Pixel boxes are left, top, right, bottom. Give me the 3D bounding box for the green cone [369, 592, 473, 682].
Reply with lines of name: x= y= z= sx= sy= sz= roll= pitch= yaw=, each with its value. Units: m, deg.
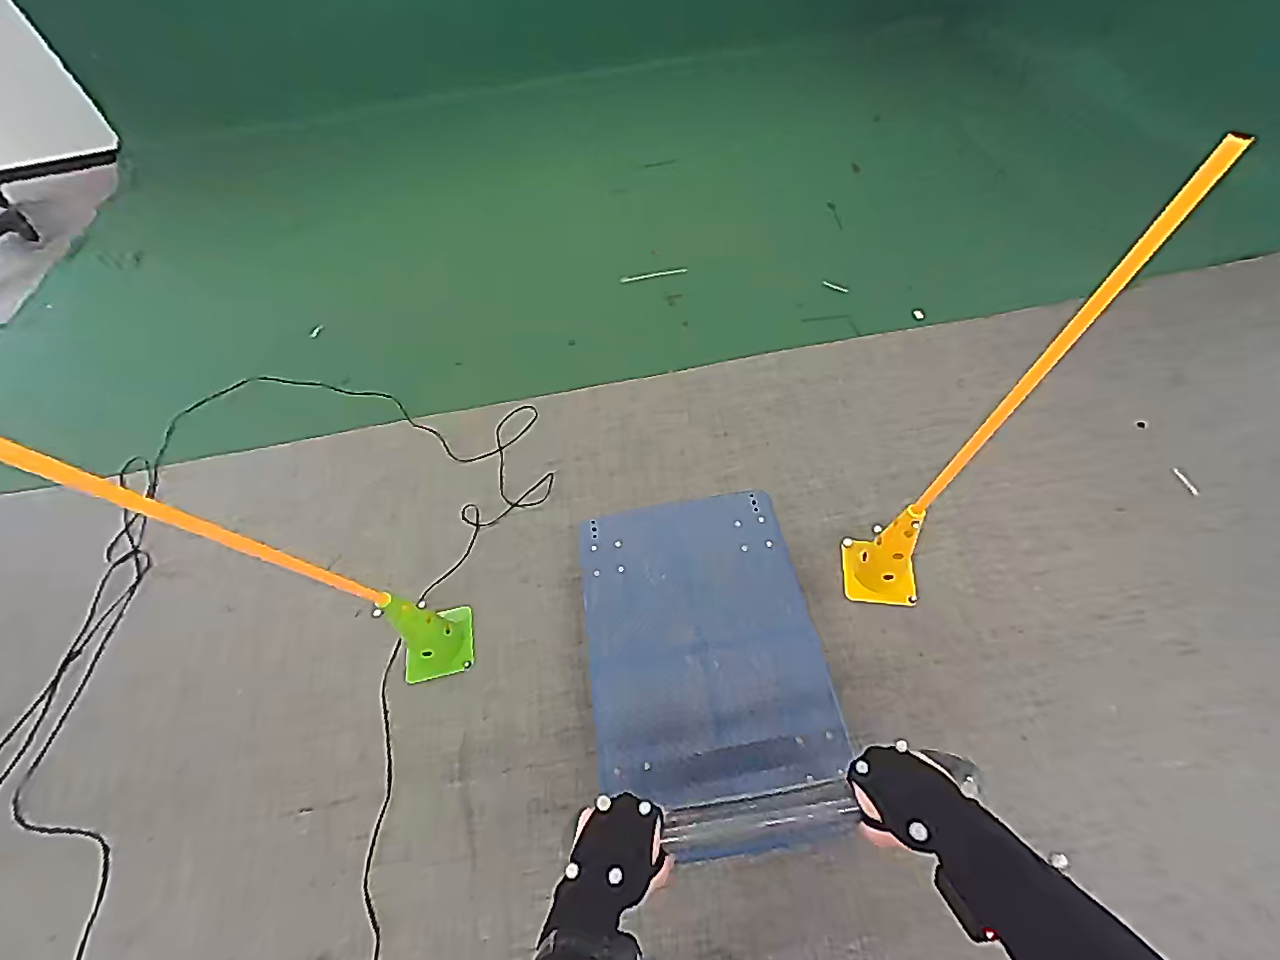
green cone: x=-0.623 y=0.390 z=1.481 sx=0.202 sy=0.368 sz=0.200 roll=-15 pitch=55 yaw=-1
